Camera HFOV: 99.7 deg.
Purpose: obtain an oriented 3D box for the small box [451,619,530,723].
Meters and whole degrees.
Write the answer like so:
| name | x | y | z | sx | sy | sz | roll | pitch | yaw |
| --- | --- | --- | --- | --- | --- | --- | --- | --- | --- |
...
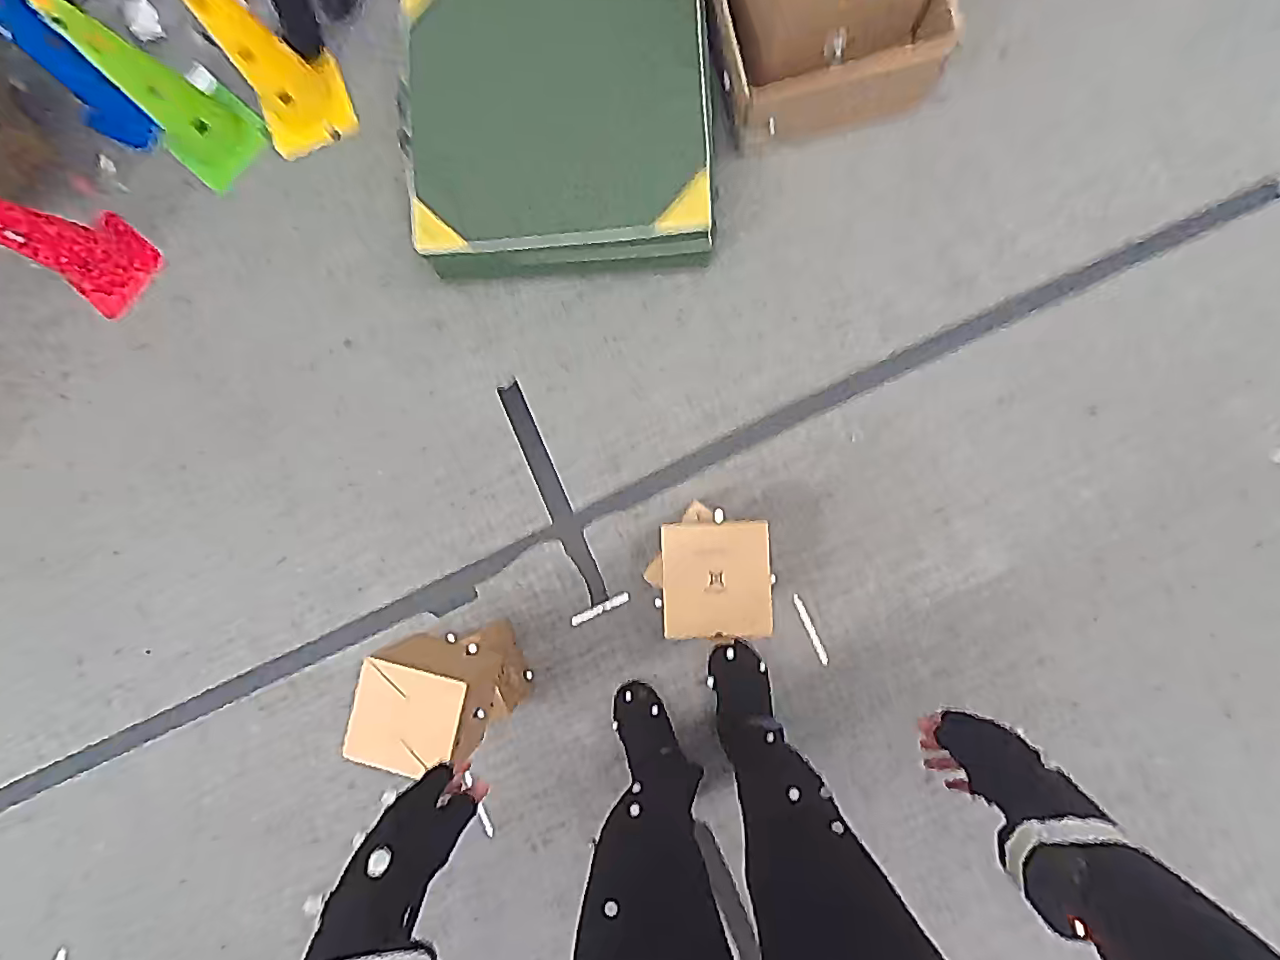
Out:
| name | x | y | z | sx | sy | sz | roll | pitch | yaw |
| --- | --- | --- | --- | --- | --- | --- | --- | --- | --- |
| small box | -0.341 | 0.402 | 1.105 | 0.179 | 0.176 | 0.168 | -23 | 85 | 4 |

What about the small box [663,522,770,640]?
| name | x | y | z | sx | sy | sz | roll | pitch | yaw |
| --- | --- | --- | --- | --- | --- | --- | --- | --- | --- |
| small box | 0.123 | 0.162 | 0.914 | 0.168 | 0.176 | 0.179 | -1 | 87 | 3 |

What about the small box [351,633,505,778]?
| name | x | y | z | sx | sy | sz | roll | pitch | yaw |
| --- | --- | --- | --- | --- | --- | --- | --- | --- | --- |
| small box | -0.359 | 0.384 | 0.939 | 0.179 | 0.176 | 0.168 | 12 | 88 | 6 |

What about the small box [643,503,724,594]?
| name | x | y | z | sx | sy | sz | roll | pitch | yaw |
| --- | --- | --- | --- | --- | --- | --- | --- | --- | --- |
| small box | 0.126 | 0.161 | 1.078 | 0.168 | 0.176 | 0.179 | 35 | 91 | 3 |
